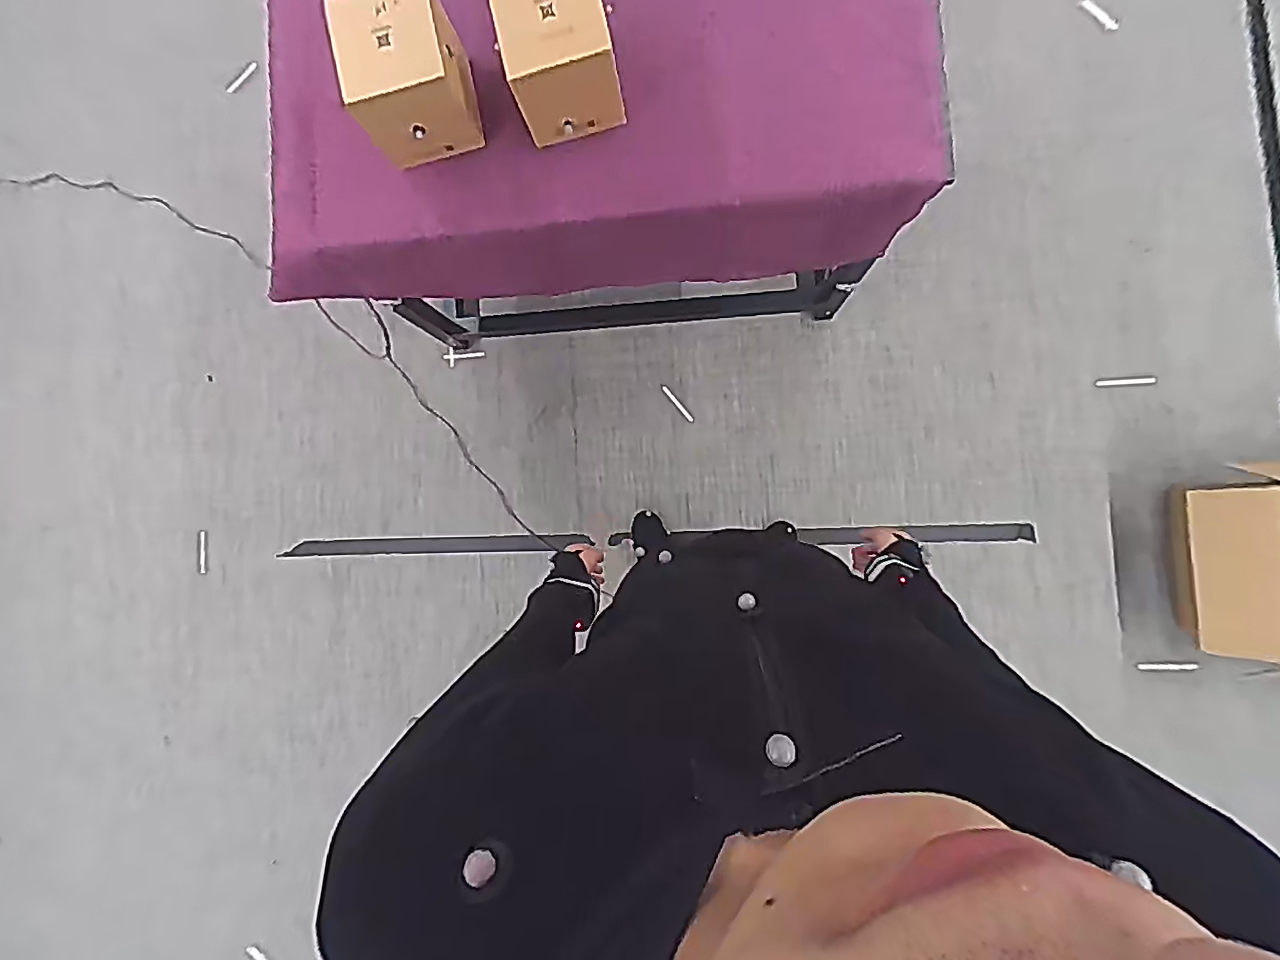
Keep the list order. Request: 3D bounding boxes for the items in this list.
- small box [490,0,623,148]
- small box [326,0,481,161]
[{"bbox_3d":[-0.130,-0.691,0.880,0.168,0.176,0.179,-13,87,5],"label":"small box"},{"bbox_3d":[-0.381,-0.667,0.901,0.168,0.176,0.179,-12,87,4],"label":"small box"}]
